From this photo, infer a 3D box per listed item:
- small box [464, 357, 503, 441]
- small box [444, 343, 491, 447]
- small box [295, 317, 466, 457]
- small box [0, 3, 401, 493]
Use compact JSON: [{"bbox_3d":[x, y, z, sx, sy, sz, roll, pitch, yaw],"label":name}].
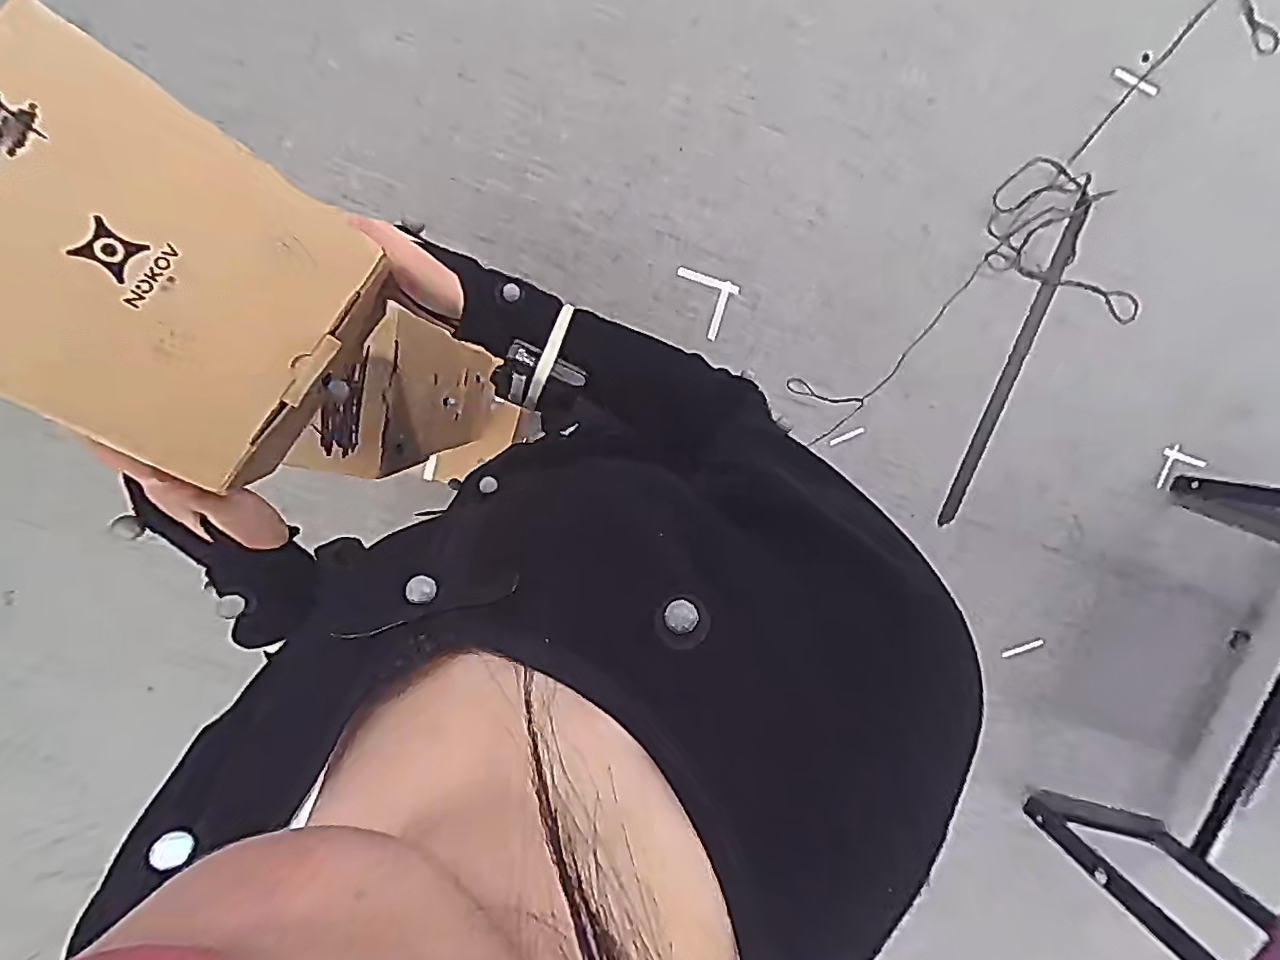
[{"bbox_3d":[-0.385,-0.181,1.067,0.179,0.176,0.168,15,97,-8],"label":"small box"},{"bbox_3d":[-0.362,-0.160,0.908,0.179,0.176,0.168,14,96,-7],"label":"small box"},{"bbox_3d":[-0.351,-0.133,0.745,0.179,0.176,0.168,10,96,-7],"label":"small box"},{"bbox_3d":[-0.280,-0.114,0.339,0.179,0.176,0.168,35,80,-27],"label":"small box"}]
